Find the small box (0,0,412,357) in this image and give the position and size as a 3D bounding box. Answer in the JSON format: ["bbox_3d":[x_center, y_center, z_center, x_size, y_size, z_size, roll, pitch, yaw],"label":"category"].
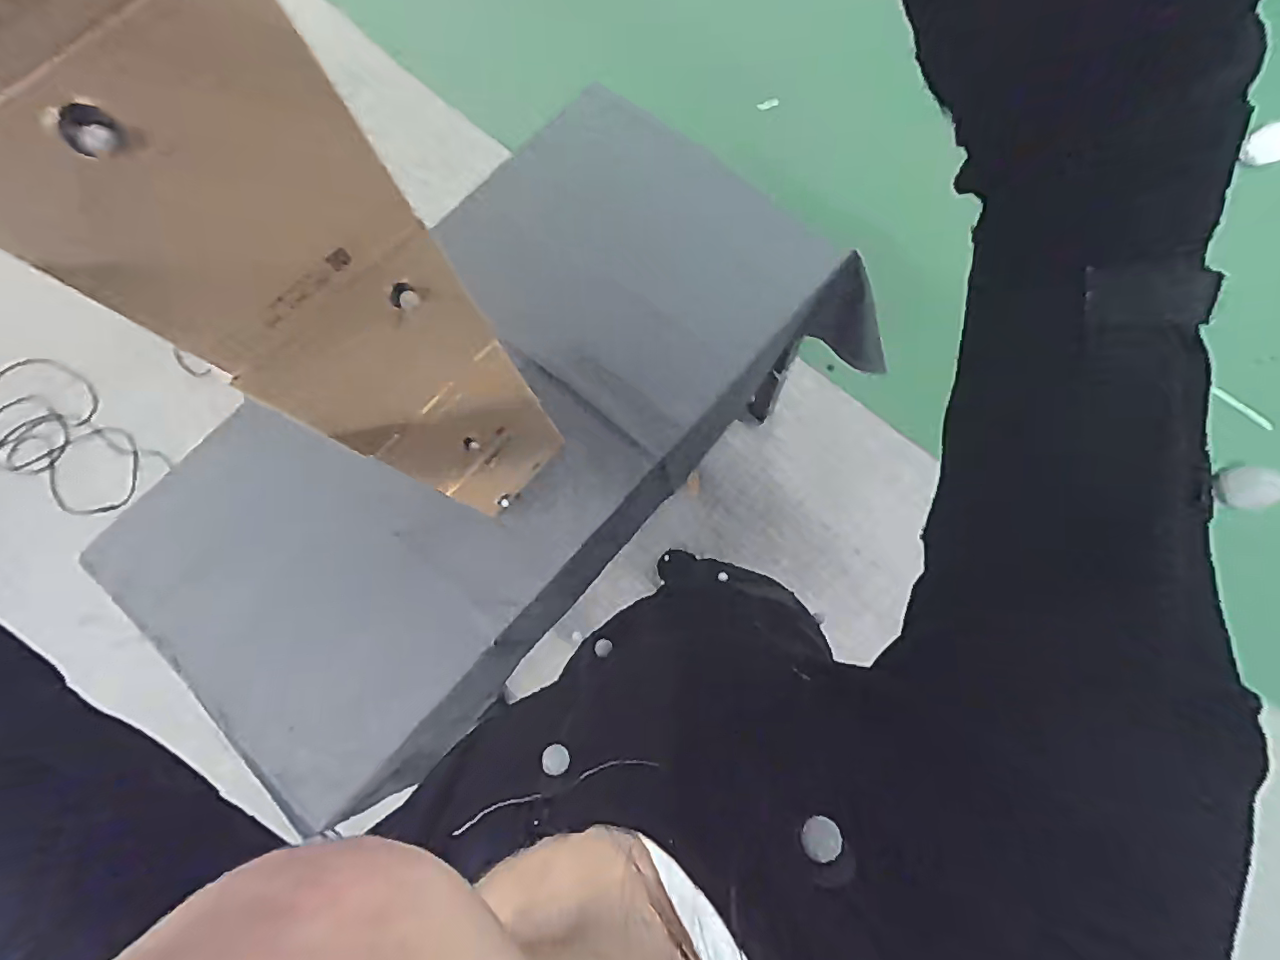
[{"bbox_3d":[-0.277,-0.205,0.314,0.179,0.176,0.168,43,83,13],"label":"small box"}]

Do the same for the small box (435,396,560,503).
[{"bbox_3d":[-0.243,-0.083,0.788,0.179,0.176,0.168,40,83,14],"label":"small box"}]

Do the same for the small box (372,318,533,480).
[{"bbox_3d":[-0.256,-0.123,0.631,0.179,0.176,0.168,40,83,13],"label":"small box"}]

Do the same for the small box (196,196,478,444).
[{"bbox_3d":[-0.266,-0.162,0.472,0.168,0.176,0.179,42,83,14],"label":"small box"}]
